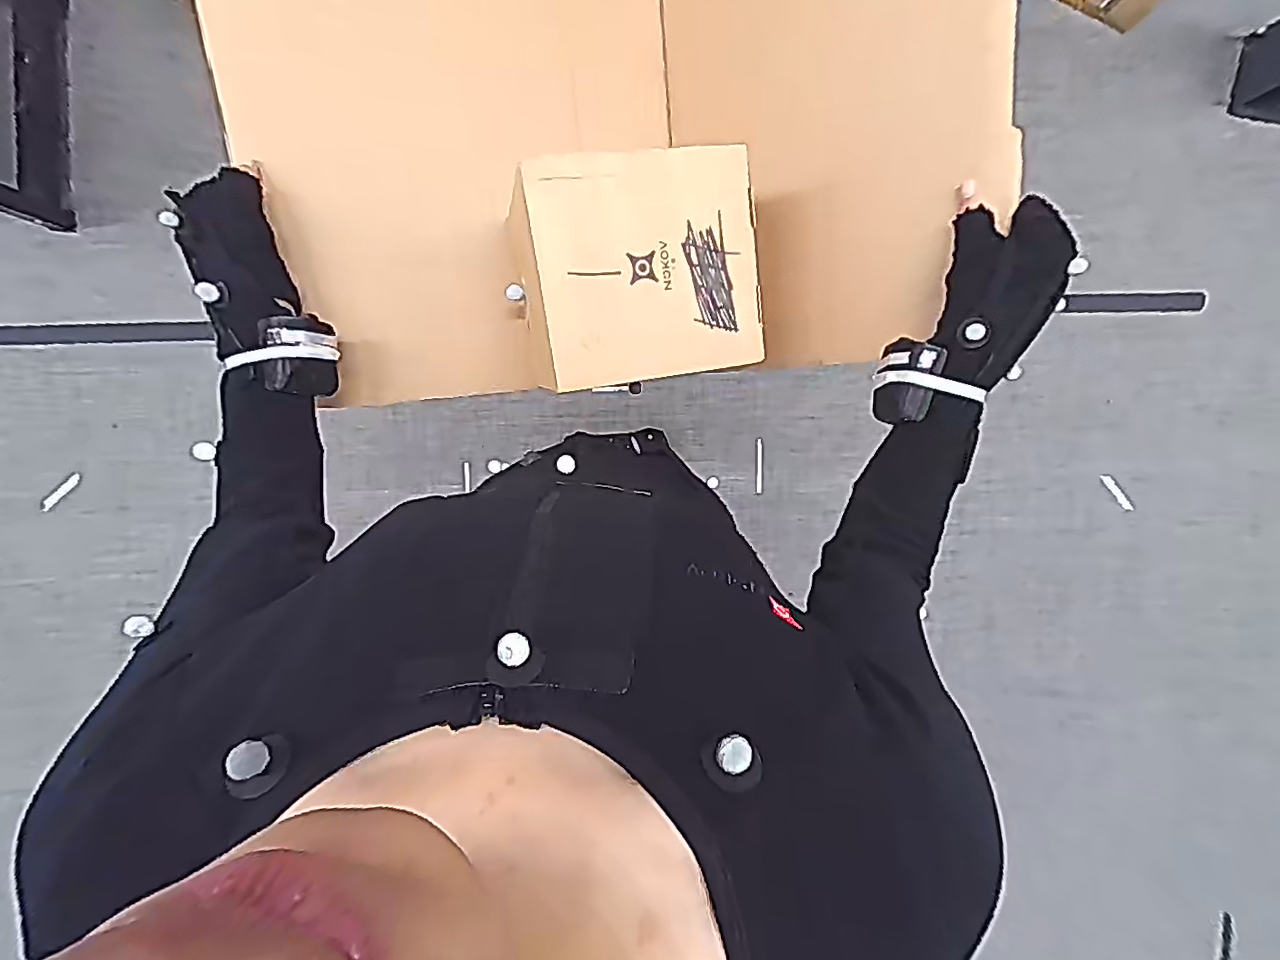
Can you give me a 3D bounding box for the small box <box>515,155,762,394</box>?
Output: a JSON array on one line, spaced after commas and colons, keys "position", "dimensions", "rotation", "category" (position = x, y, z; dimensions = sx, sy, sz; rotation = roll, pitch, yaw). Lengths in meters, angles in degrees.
[{"position": [-0.010, -0.175, 0.491], "dimensions": [0.179, 0.176, 0.168], "rotation": [-11, 104, -13], "category": "small box"}]
